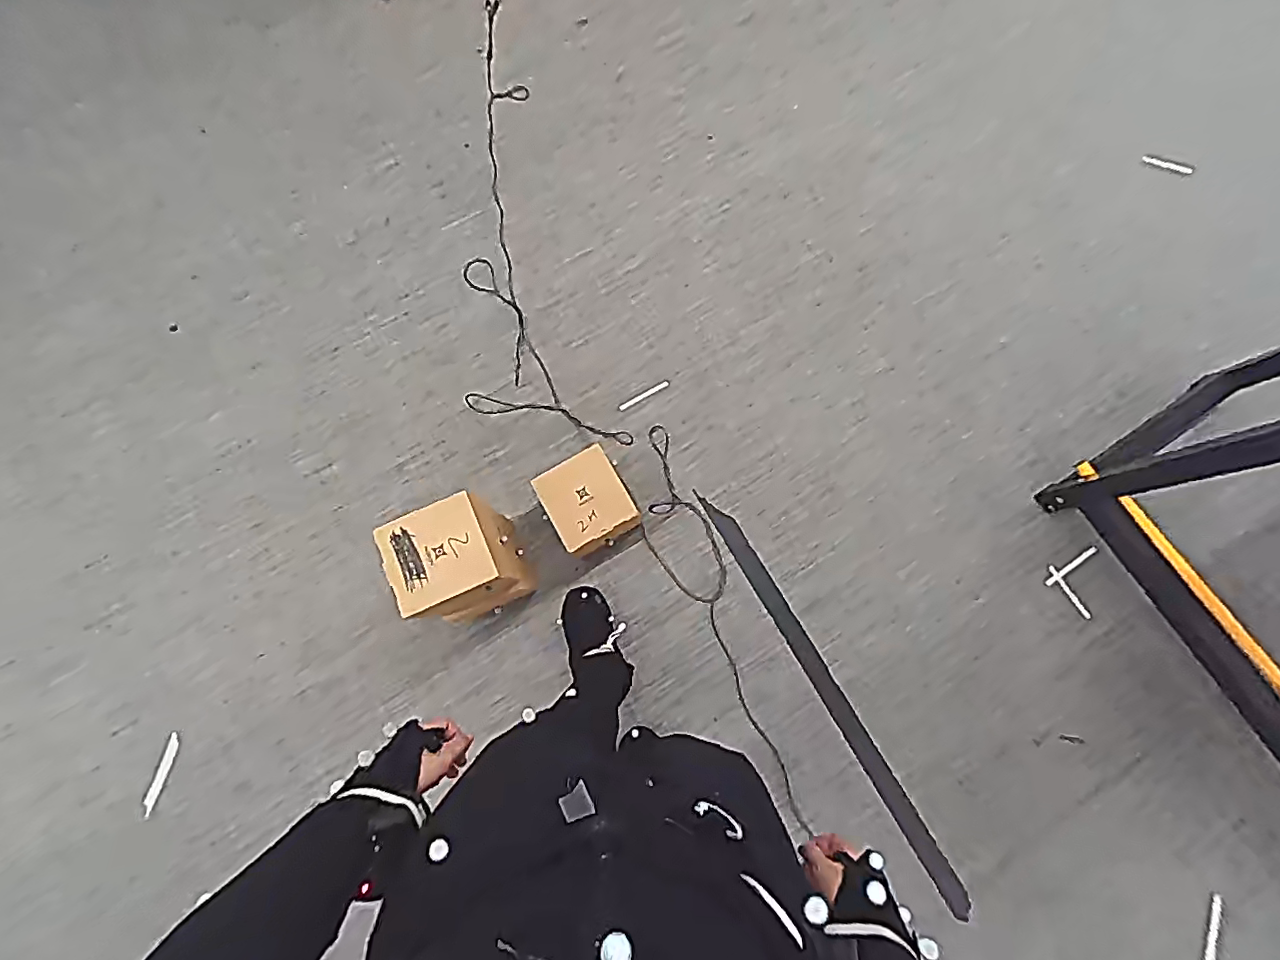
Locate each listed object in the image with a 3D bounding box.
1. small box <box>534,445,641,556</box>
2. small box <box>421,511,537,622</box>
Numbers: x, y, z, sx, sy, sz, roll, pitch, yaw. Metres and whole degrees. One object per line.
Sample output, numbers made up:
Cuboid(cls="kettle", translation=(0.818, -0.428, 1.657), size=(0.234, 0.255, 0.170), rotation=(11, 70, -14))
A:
Cuboid(cls="small box", translation=(-0.110, 0.053, 1.185), size=(0.168, 0.176, 0.179), rotation=(-29, 79, -5))
Cuboid(cls="small box", translation=(-0.335, 0.188, 1.153), size=(0.168, 0.176, 0.179), rotation=(-23, 80, -5))
